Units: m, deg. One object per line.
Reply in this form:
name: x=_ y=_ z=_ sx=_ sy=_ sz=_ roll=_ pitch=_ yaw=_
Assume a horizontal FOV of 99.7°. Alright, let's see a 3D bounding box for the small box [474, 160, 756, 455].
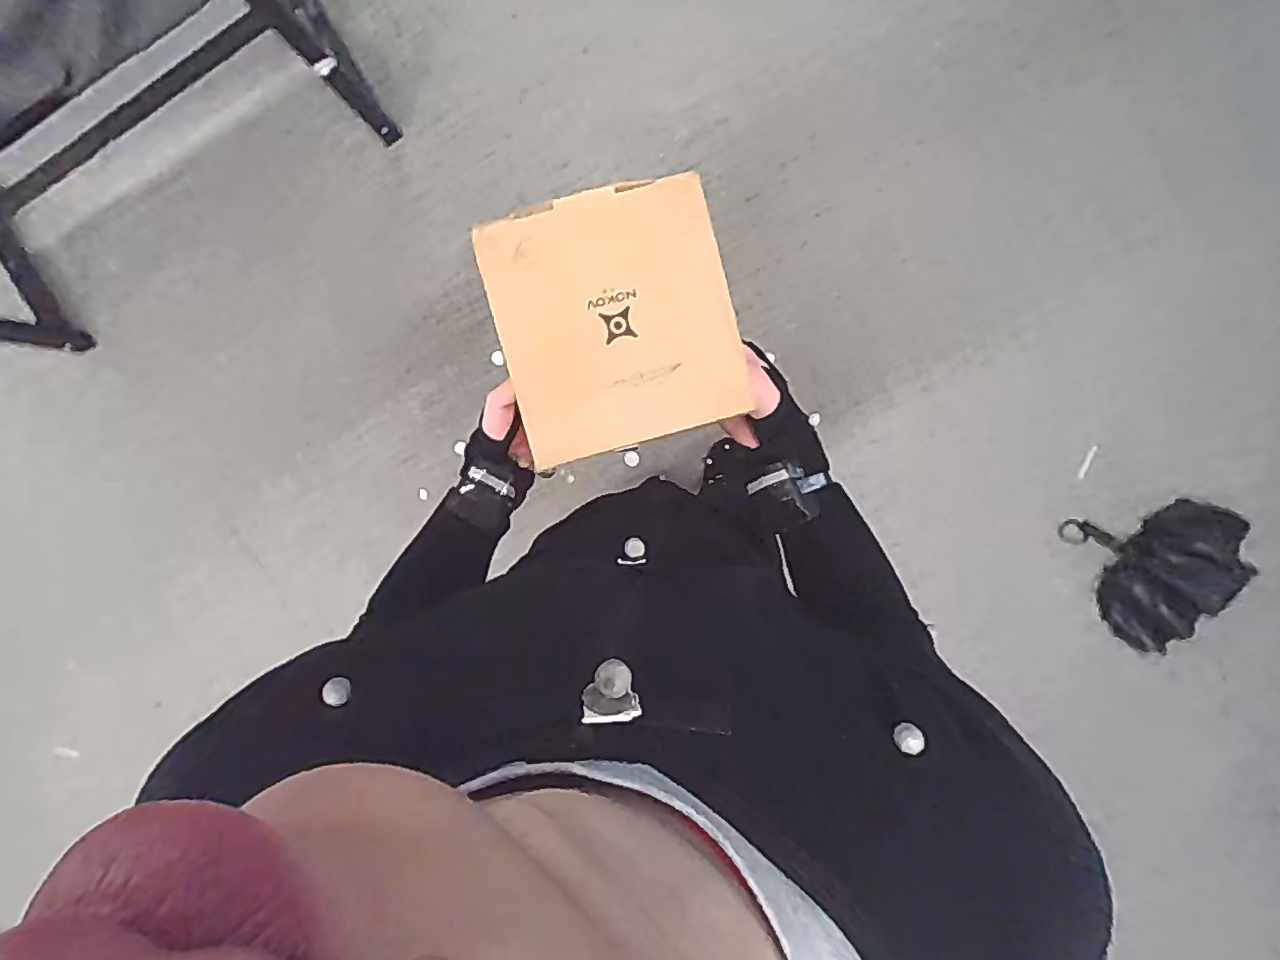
small box: x=-0.021 y=-0.123 z=0.457 sx=0.168 sy=0.176 sz=0.179 roll=-16 pitch=93 yaw=-2
